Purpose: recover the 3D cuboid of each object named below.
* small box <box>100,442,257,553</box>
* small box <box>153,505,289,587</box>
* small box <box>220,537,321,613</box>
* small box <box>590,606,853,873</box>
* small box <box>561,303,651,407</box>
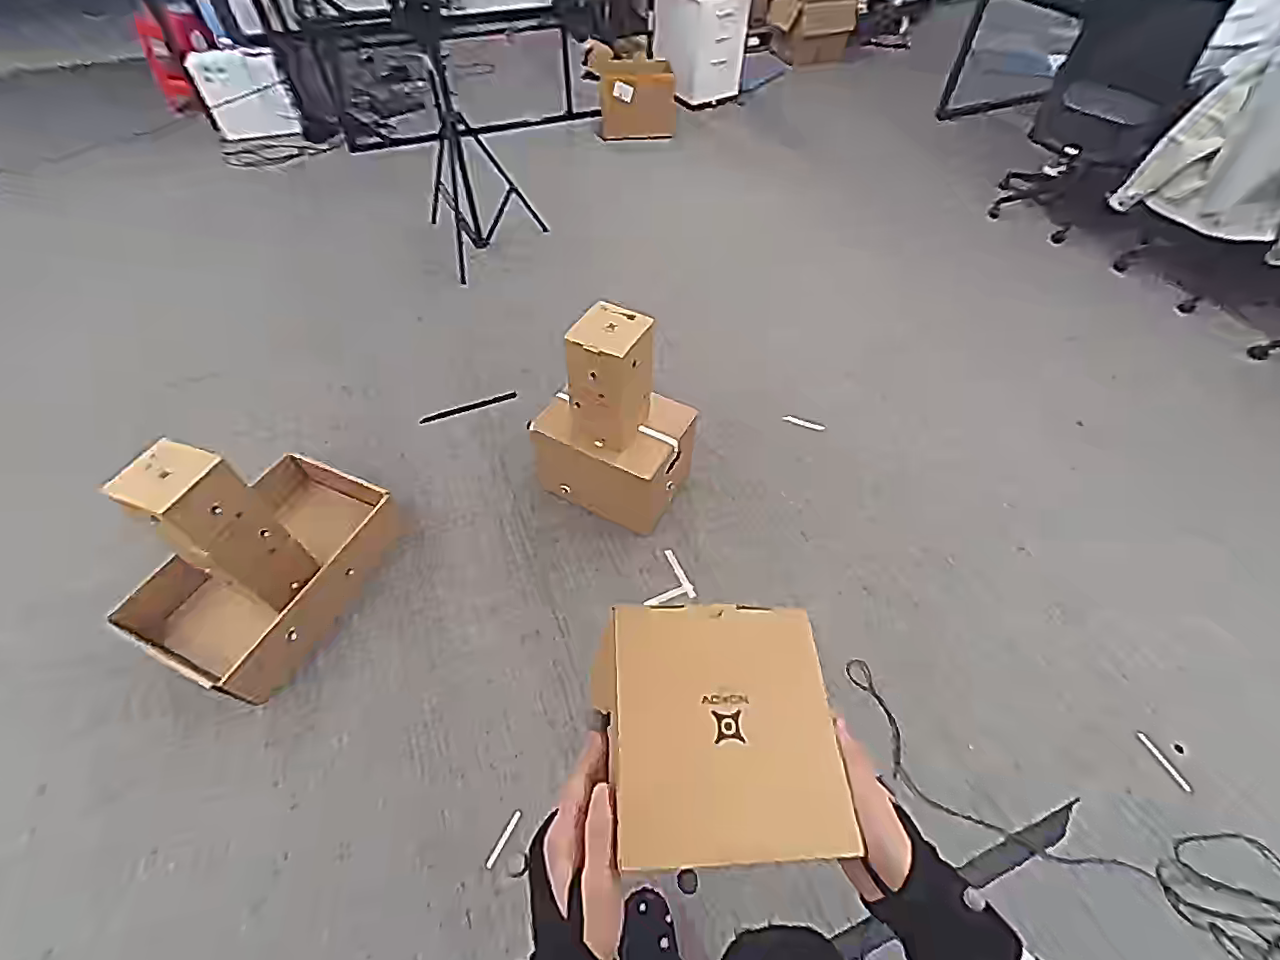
[{"bbox_3d":[-1.037,0.046,1.235,0.179,0.176,0.168,16,53,11],"label":"small box"},{"bbox_3d":[-1.042,0.149,1.364,0.179,0.176,0.168,15,53,12],"label":"small box"},{"bbox_3d":[-1.039,0.243,1.496,0.179,0.176,0.168,20,55,13],"label":"small box"},{"bbox_3d":[0.048,0.222,0.462,0.168,0.176,0.179,3,54,-10],"label":"small box"},{"bbox_3d":[-0.082,-0.318,1.393,0.168,0.176,0.179,24,57,15],"label":"small box"}]
